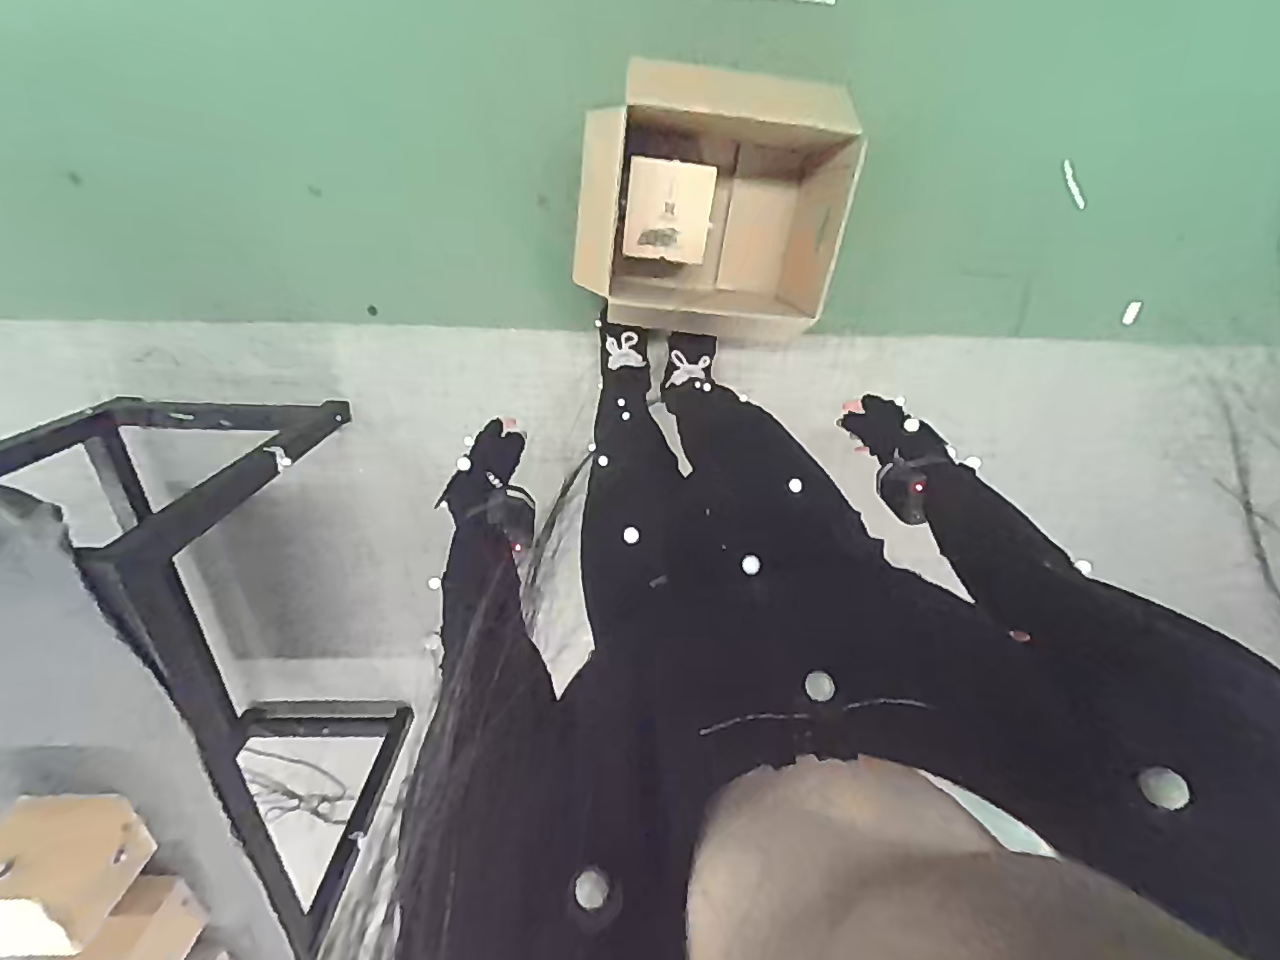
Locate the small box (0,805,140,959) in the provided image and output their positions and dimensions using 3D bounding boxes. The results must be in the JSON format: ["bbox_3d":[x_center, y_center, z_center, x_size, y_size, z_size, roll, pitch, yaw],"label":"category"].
[{"bbox_3d":[-1.000,0.664,0.889,0.179,0.176,0.168,0,115,-2],"label":"small box"}]
